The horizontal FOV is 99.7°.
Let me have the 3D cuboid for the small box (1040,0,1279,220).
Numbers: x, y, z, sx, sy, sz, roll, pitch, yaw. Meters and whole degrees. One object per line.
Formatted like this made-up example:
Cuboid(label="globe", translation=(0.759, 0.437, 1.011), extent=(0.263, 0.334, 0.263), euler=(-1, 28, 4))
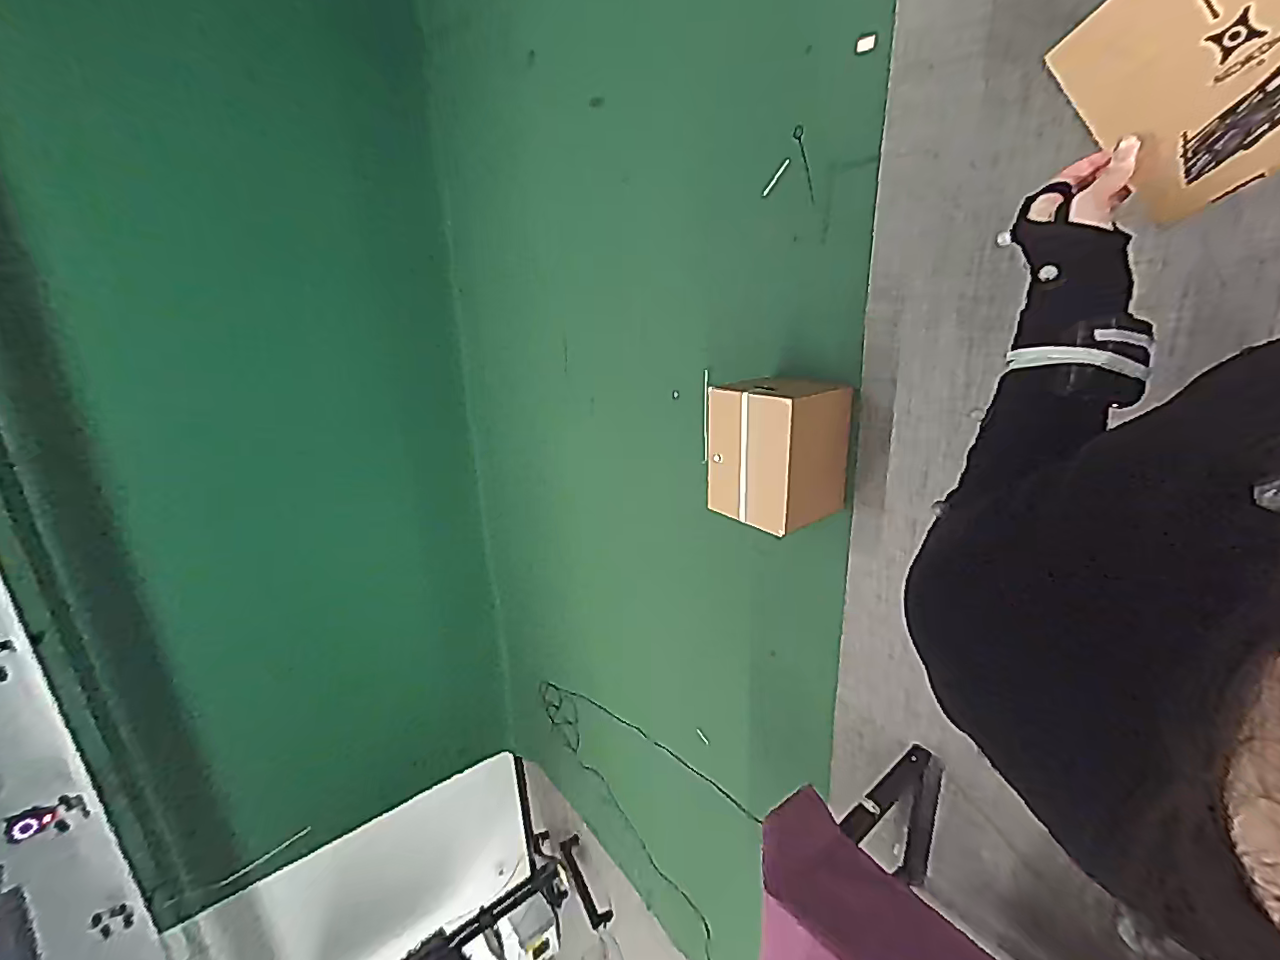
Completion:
Cuboid(label="small box", translation=(0.471, -0.348, 0.428), extent=(0.179, 0.176, 0.168), euler=(55, 145, 0))
